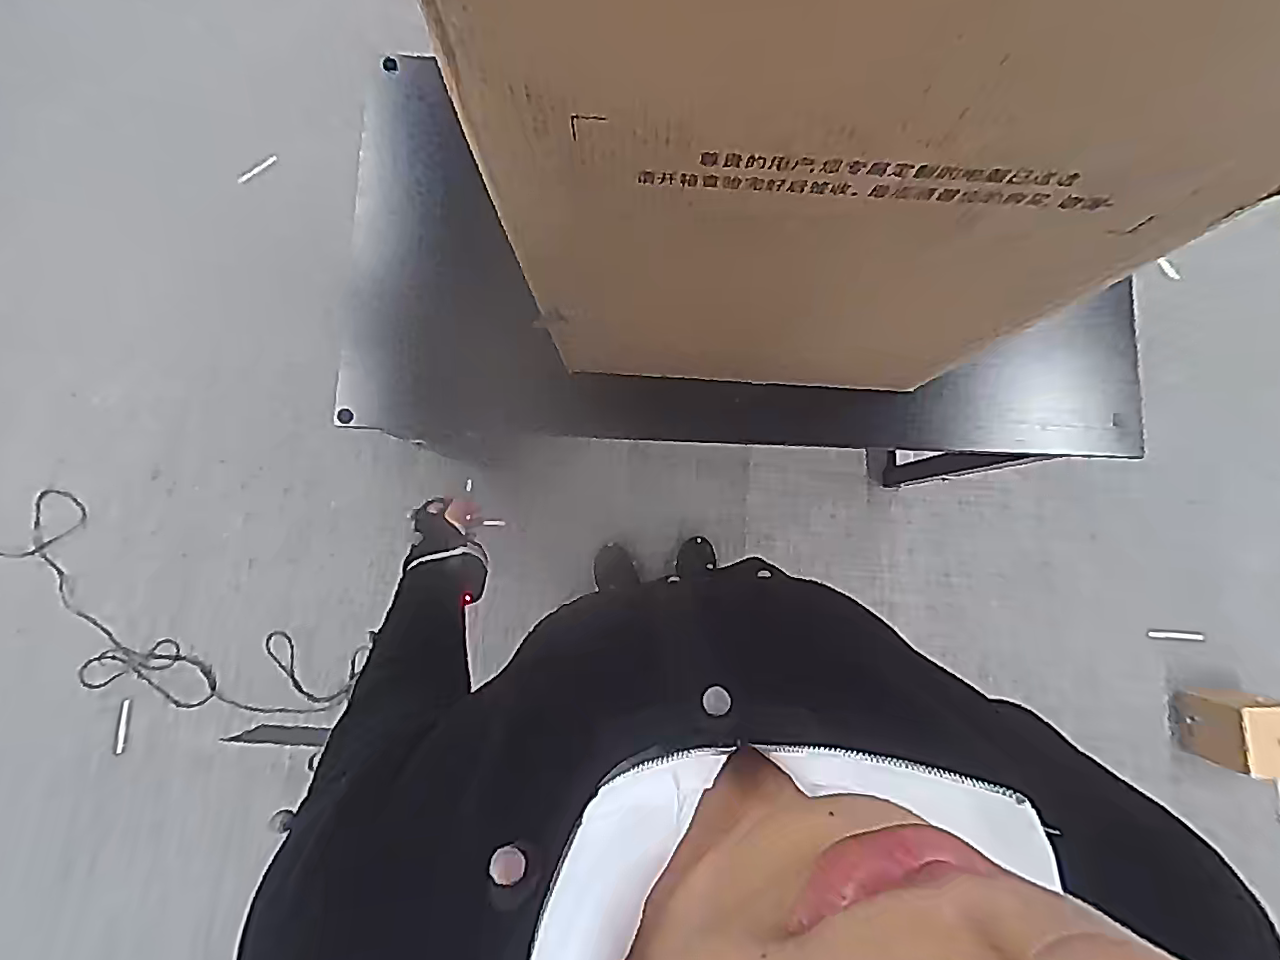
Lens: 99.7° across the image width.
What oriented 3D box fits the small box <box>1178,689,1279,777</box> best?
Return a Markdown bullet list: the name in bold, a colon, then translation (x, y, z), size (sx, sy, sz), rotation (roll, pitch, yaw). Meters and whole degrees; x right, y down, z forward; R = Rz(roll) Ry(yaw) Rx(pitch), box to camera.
- **small box**: translation (1.557, 0.643, 1.391), size (0.179, 0.176, 0.168), rotation (-1, 83, 1)
